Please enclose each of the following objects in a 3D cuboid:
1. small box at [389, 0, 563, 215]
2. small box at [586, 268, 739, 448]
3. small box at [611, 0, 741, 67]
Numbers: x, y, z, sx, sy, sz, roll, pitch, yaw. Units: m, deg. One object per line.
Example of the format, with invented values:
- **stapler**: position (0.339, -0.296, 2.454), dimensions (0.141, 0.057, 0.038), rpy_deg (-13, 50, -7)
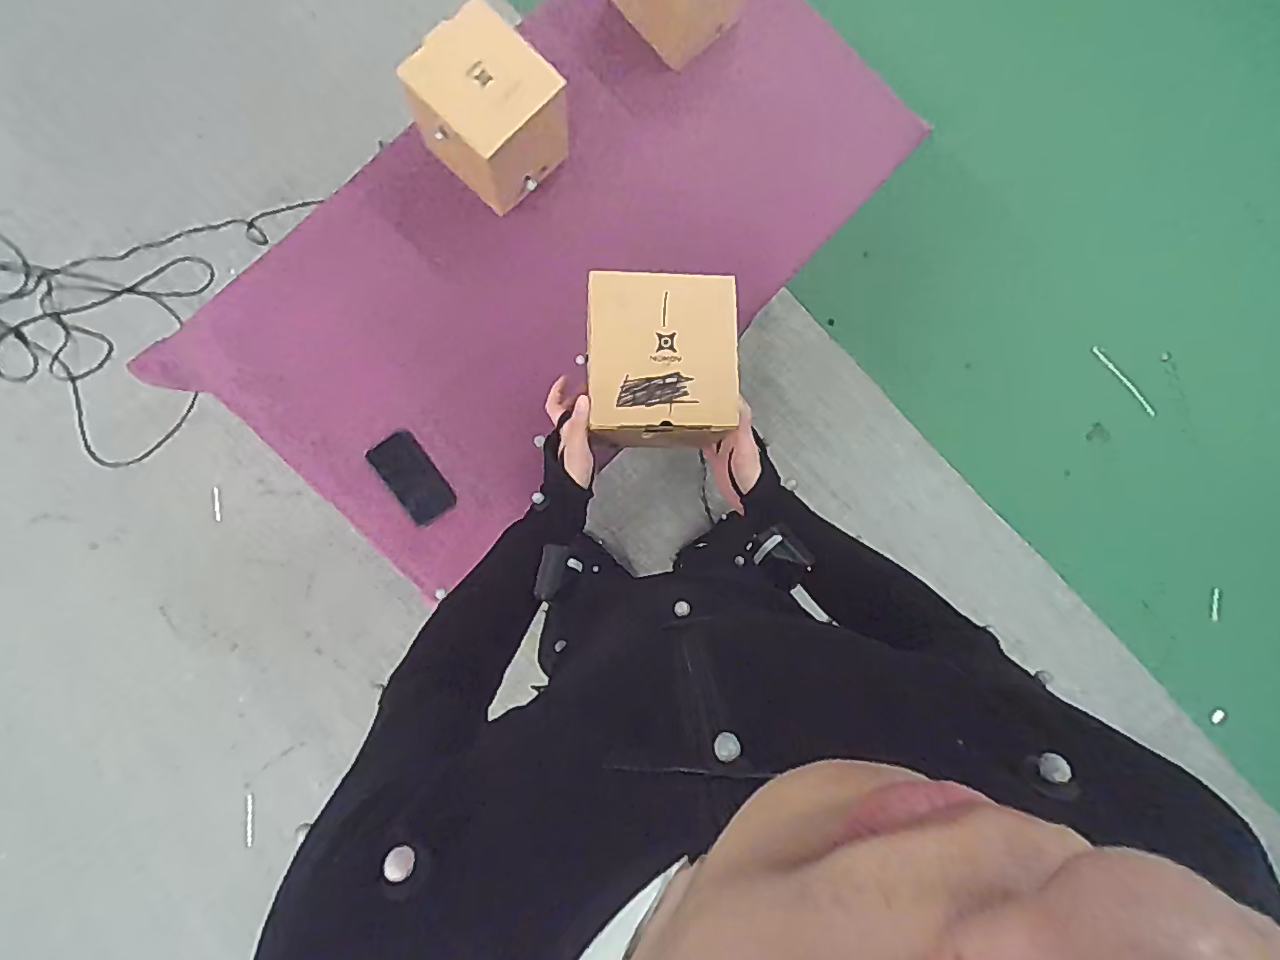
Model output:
- **small box**: position (-0.236, -0.553, 0.827), dimensions (0.179, 0.176, 0.168), rpy_deg (44, 85, -3)
- **small box**: position (0.019, -0.134, 0.658), dimensions (0.168, 0.176, 0.179), rpy_deg (0, 86, -6)
- **small box**: position (0.063, -0.832, 0.870), dimensions (0.168, 0.176, 0.179), rpy_deg (-43, 92, -5)
